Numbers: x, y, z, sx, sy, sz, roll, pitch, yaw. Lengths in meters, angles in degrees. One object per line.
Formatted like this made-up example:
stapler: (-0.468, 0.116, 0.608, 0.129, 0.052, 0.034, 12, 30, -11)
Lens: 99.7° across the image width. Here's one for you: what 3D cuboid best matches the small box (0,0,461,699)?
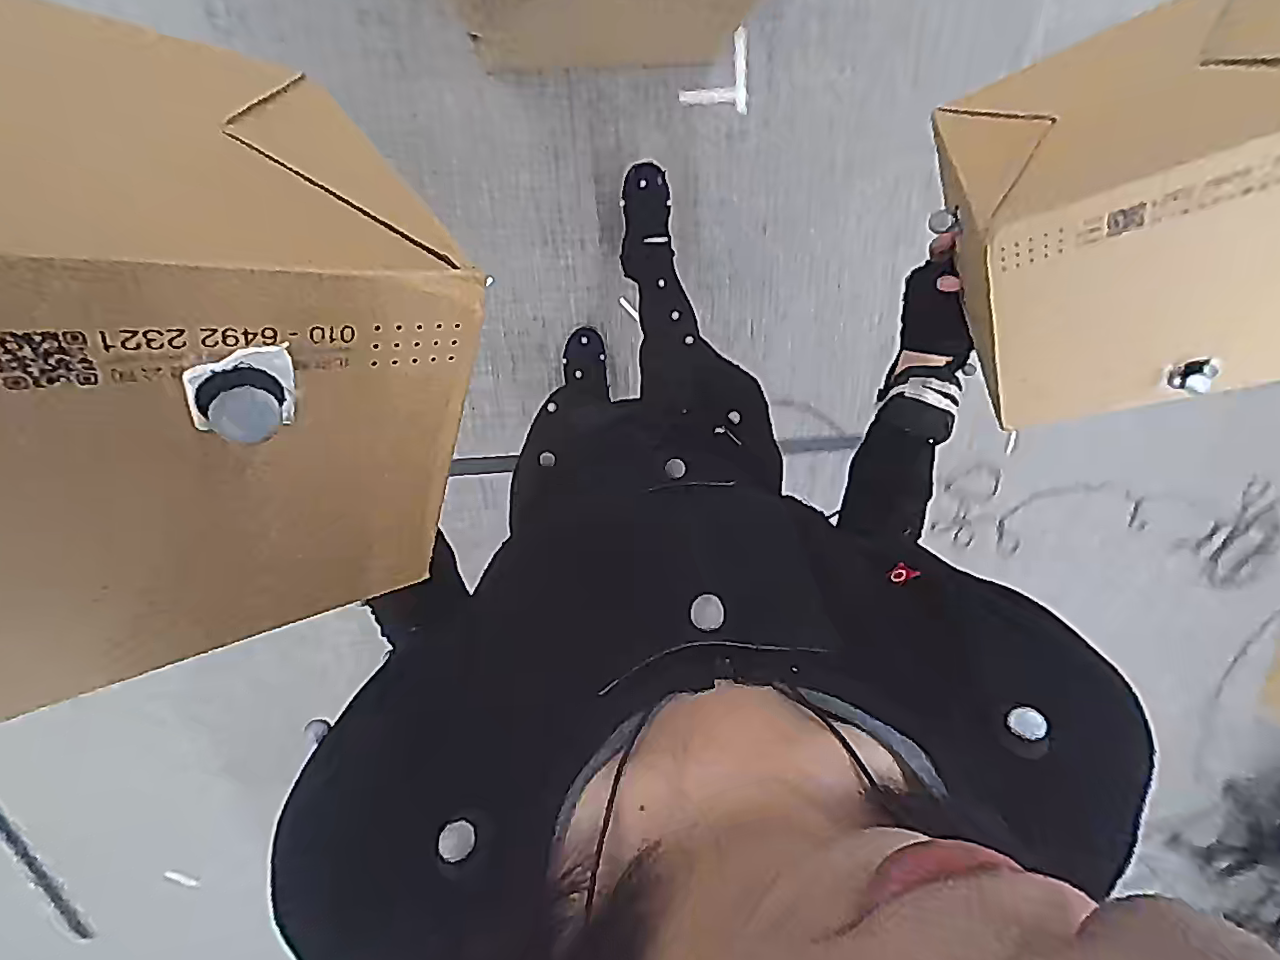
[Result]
small box: (-0.183, -0.056, 0.199, 0.168, 0.179, 0.176, -15, 145, -40)
